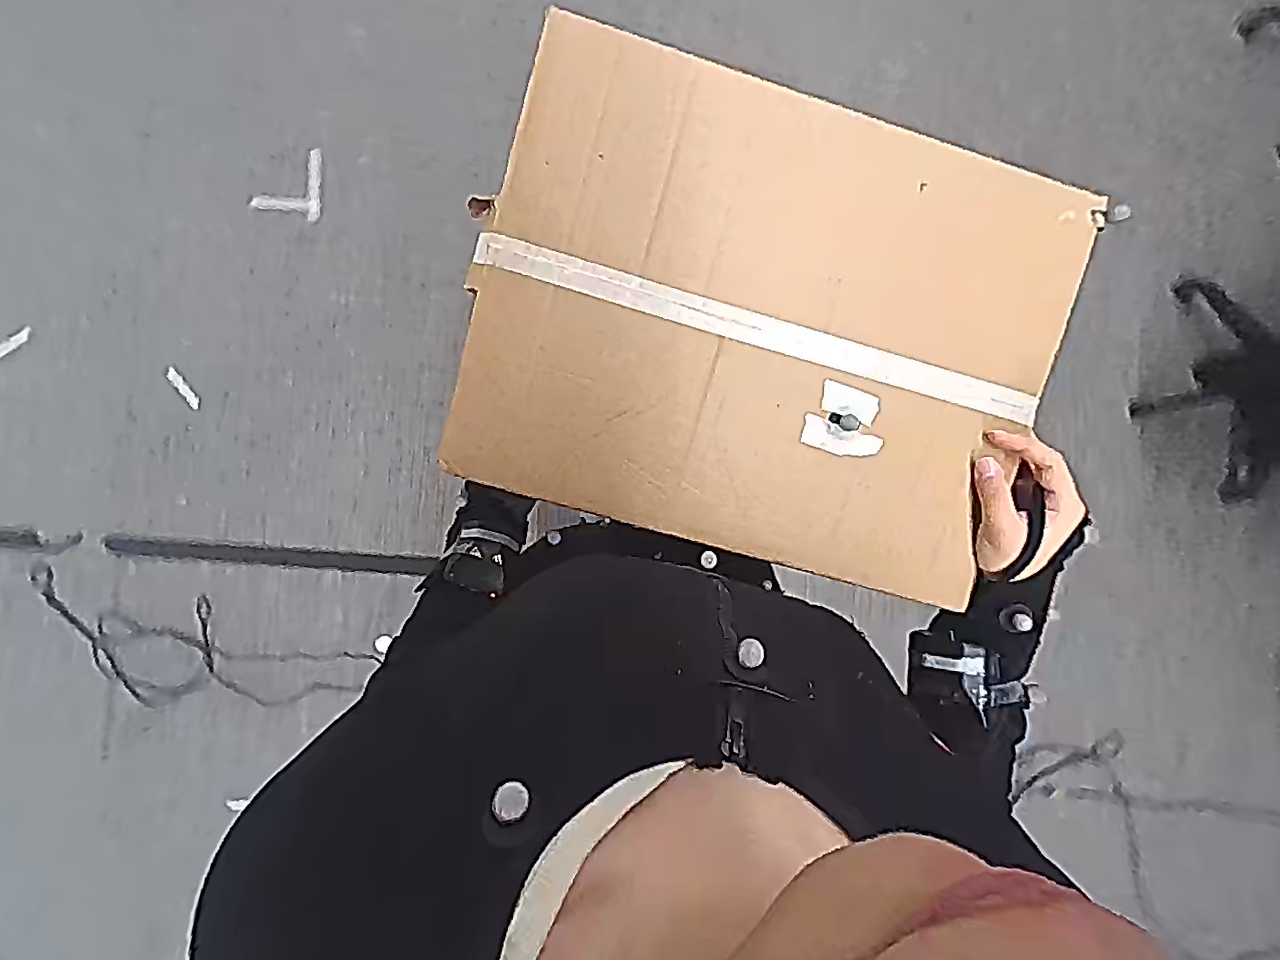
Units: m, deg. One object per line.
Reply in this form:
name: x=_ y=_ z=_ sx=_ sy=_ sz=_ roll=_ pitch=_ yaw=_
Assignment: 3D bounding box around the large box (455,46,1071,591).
large box: x=0.079 y=-0.117 z=0.537 sx=0.408 sy=0.320 sz=0.320 roll=13 pitch=96 yaw=-6
